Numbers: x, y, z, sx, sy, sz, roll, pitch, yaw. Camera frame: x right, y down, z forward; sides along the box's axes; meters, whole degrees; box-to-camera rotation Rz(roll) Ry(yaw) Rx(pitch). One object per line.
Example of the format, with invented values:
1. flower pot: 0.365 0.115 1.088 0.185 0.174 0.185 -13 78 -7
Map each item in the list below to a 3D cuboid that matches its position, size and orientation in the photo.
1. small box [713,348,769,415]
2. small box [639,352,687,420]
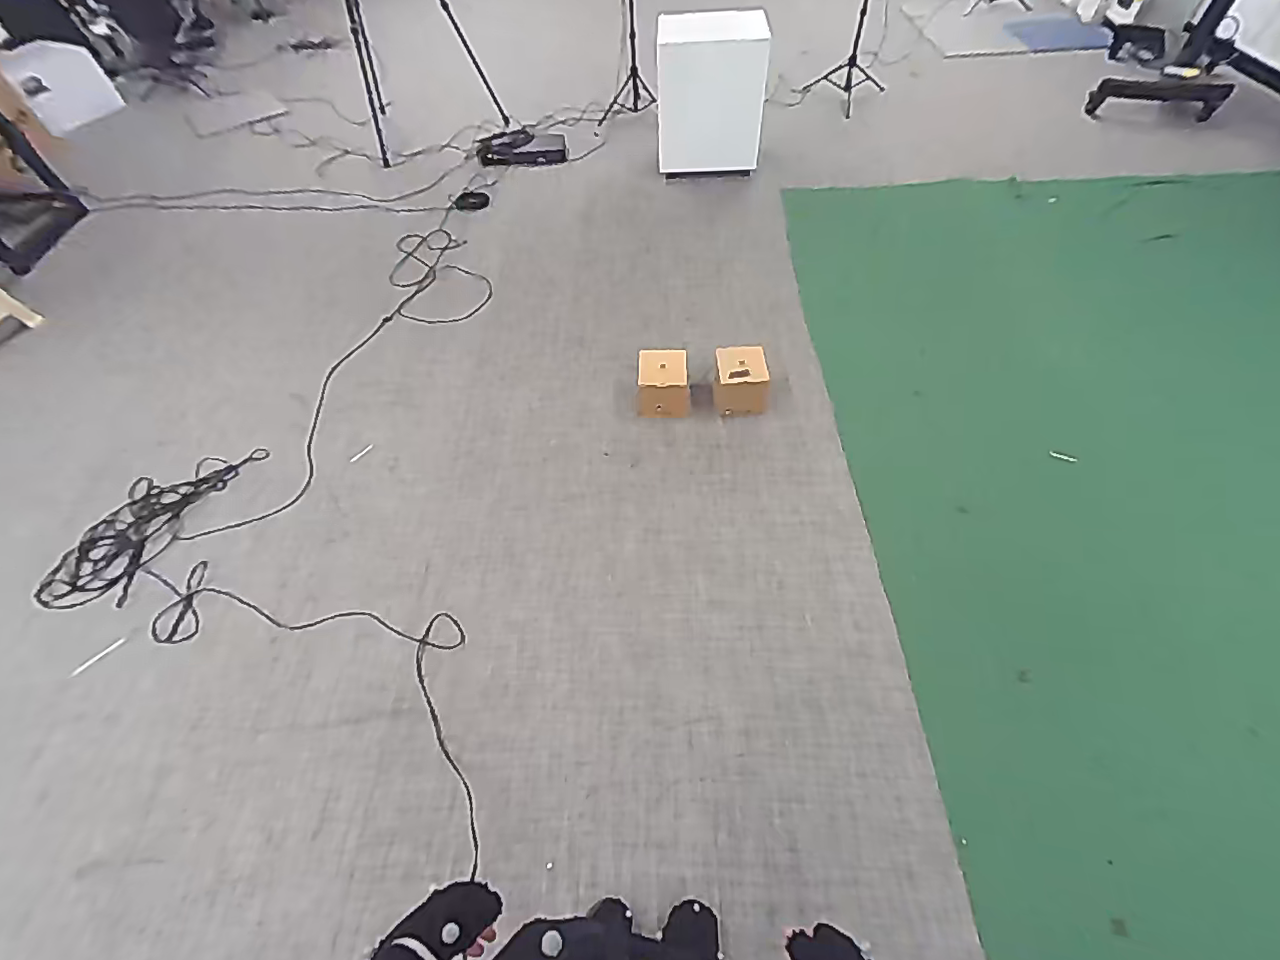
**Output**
1. small box: 0.349 -0.342 1.905 0.168 0.176 0.179 -3 54 1
2. small box: 0.081 -0.334 1.915 0.168 0.176 0.179 0 55 3
